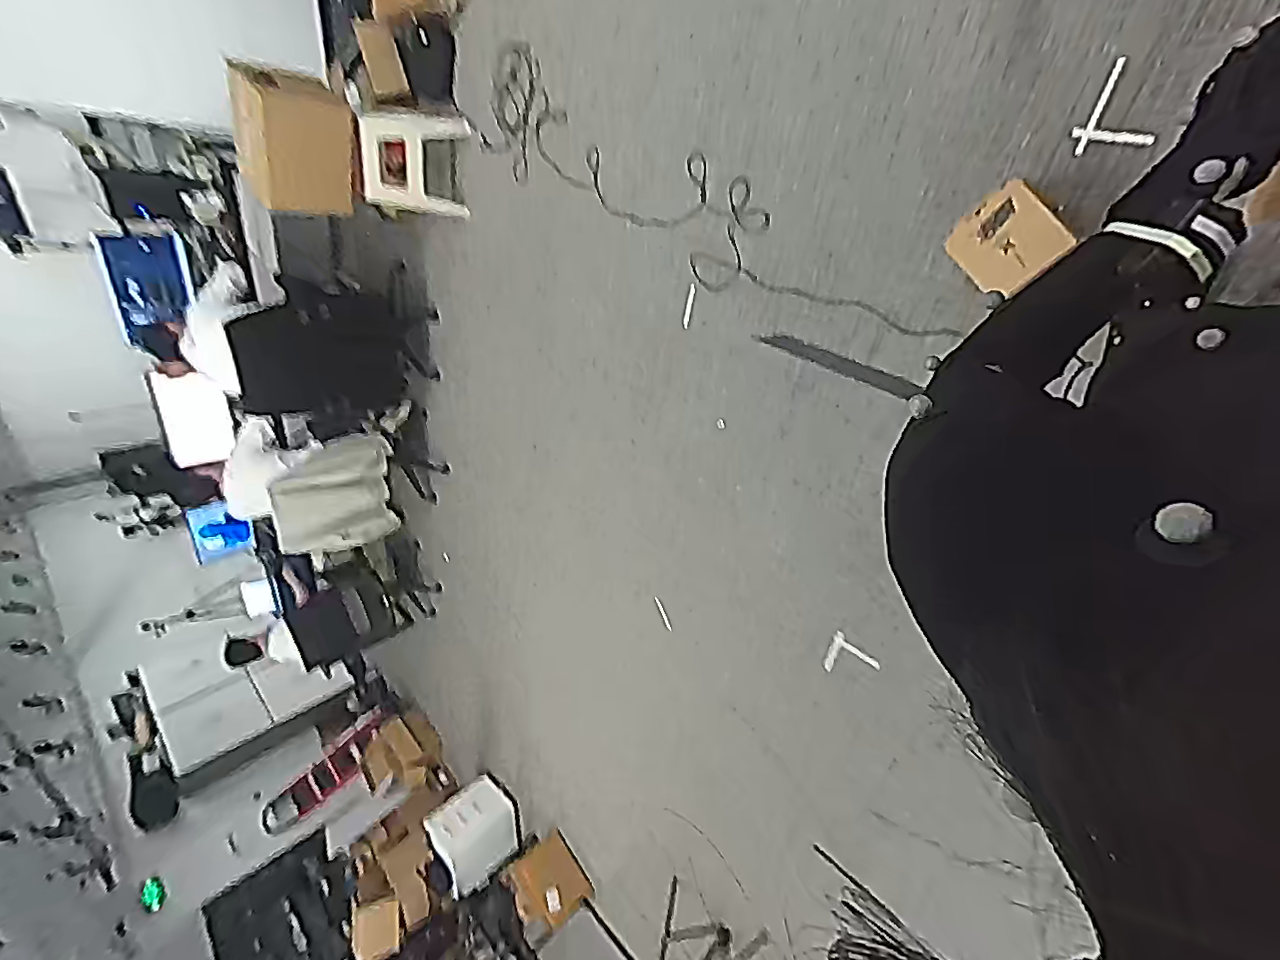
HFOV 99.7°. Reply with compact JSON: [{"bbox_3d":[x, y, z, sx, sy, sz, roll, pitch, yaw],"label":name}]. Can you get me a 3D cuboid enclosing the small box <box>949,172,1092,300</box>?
[{"bbox_3d":[0.790,-0.499,1.122,0.179,0.176,0.168,56,137,11],"label":"small box"}]
